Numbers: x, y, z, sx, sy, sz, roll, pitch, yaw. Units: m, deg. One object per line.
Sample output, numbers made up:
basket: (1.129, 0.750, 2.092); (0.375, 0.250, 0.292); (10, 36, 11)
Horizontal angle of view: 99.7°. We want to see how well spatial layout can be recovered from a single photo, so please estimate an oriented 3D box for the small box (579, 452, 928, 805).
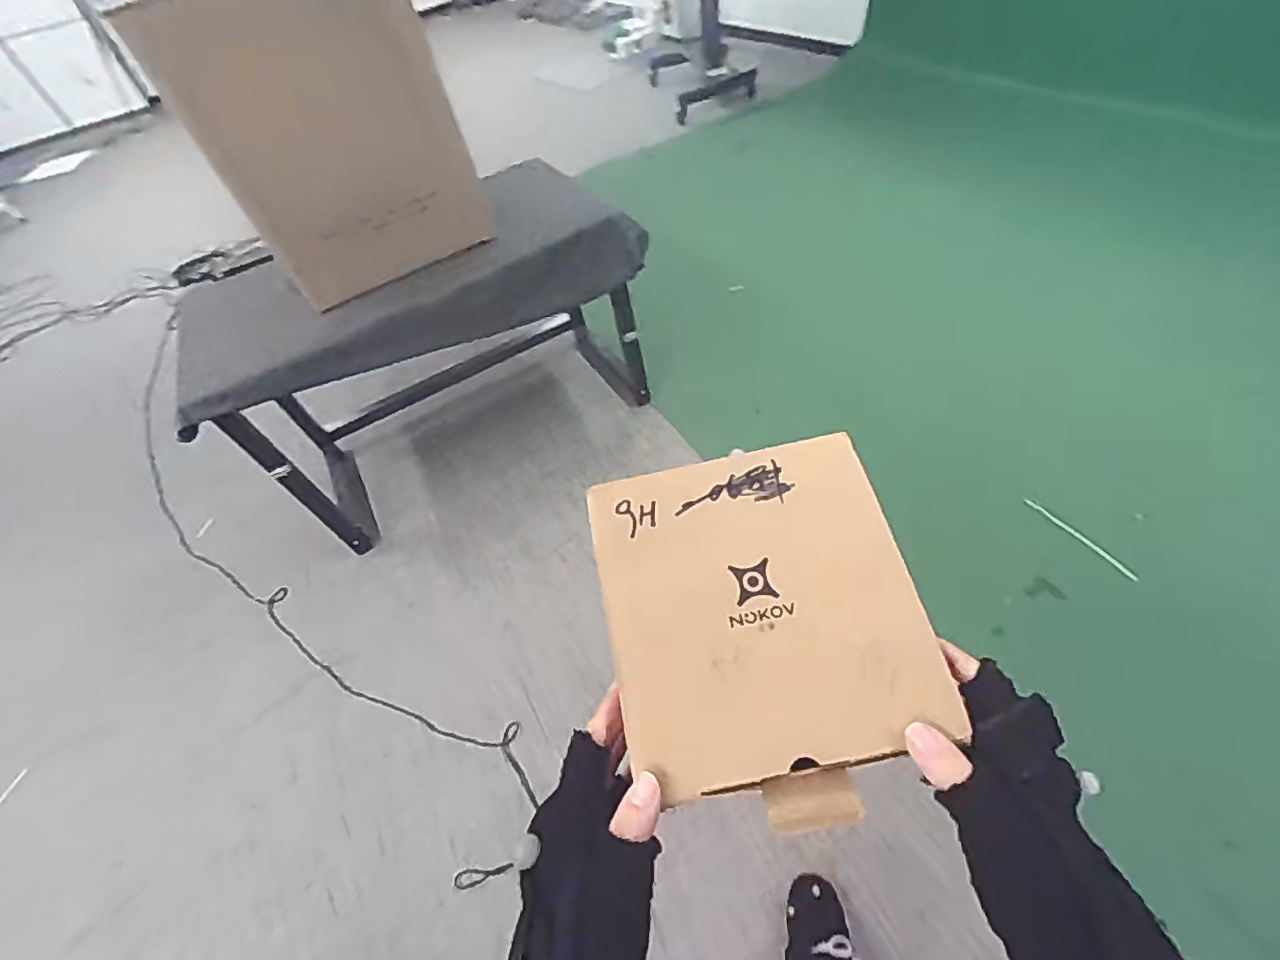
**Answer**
small box: (0.066, 0.110, 0.393); (0.168, 0.176, 0.179); (-15, 64, 0)
